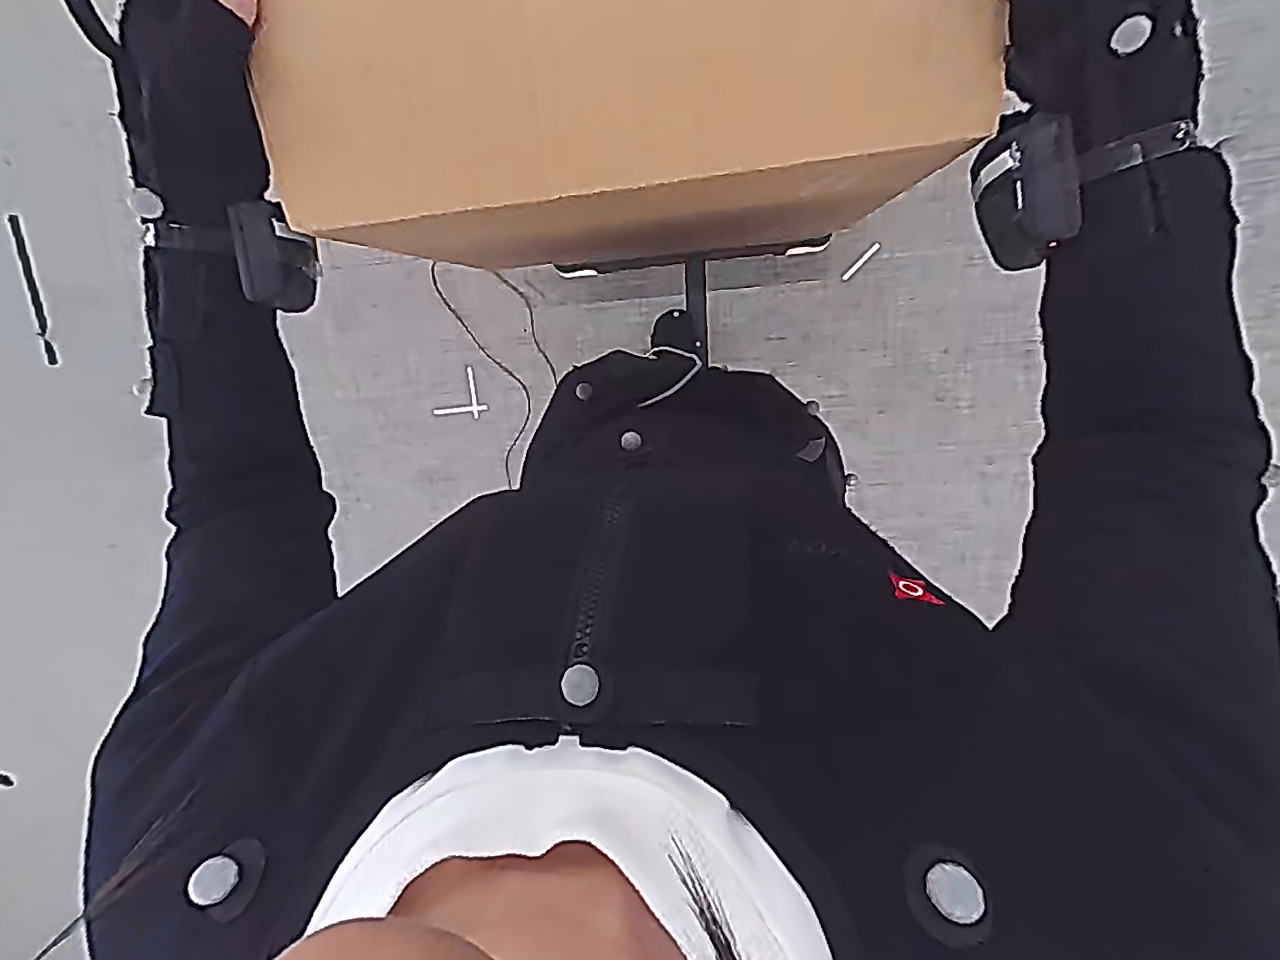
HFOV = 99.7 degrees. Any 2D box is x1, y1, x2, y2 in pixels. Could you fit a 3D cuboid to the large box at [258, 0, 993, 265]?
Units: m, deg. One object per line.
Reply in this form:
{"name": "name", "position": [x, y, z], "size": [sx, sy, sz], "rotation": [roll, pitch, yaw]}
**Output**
{"name": "large box", "position": [-0.012, -0.367, 0.417], "size": [0.408, 0.320, 0.320], "rotation": [-4, 107, 7]}
